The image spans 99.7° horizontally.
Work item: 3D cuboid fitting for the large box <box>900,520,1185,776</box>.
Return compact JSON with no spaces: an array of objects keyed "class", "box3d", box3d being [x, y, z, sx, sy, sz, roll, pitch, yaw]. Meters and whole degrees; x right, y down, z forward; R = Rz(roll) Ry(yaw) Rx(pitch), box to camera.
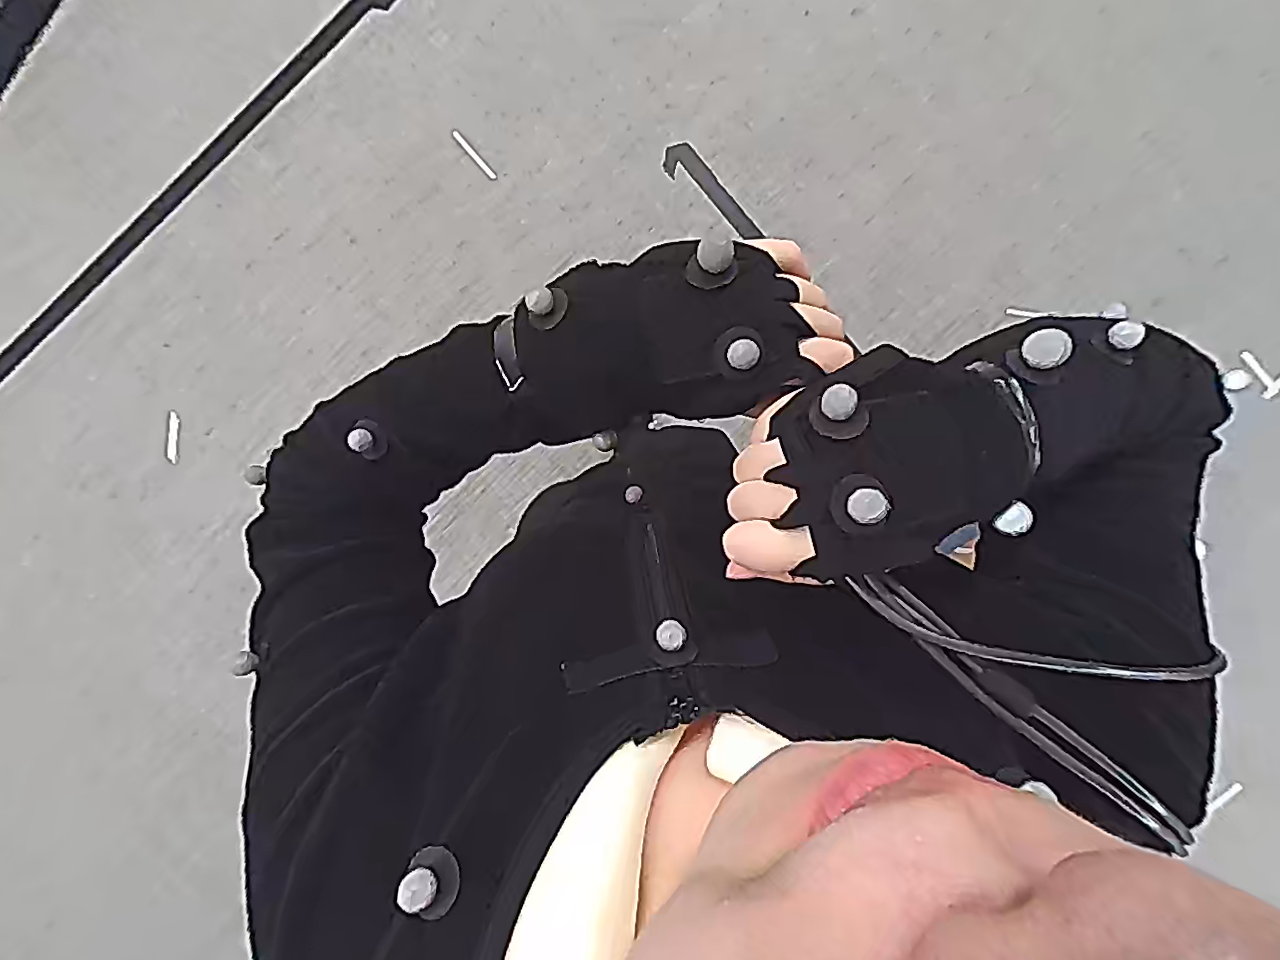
[{"class":"large box","box3d":[0.884,0.353,1.237,0.320,0.320,0.408,-29,96,1]}]
